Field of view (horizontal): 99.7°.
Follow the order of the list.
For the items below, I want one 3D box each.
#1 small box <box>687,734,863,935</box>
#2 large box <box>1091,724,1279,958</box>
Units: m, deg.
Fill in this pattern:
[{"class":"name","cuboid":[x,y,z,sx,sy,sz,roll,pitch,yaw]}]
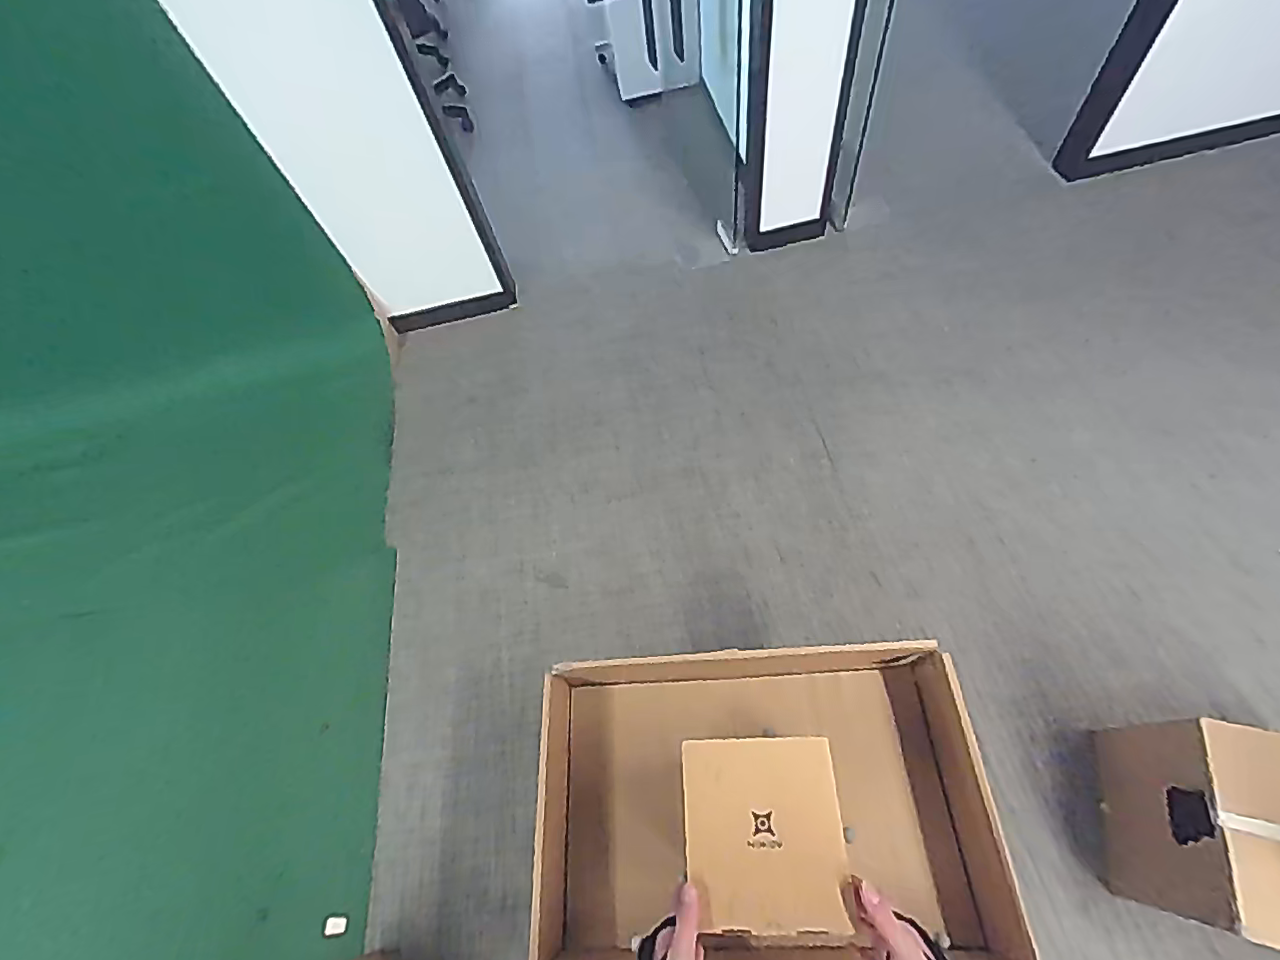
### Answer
[{"class":"small box","cuboid":[0.143,0.402,0.635,0.168,0.176,0.179,-5,61,7]},{"class":"large box","cuboid":[1.117,0.648,0.944,0.408,0.320,0.320,9,62,14]}]
